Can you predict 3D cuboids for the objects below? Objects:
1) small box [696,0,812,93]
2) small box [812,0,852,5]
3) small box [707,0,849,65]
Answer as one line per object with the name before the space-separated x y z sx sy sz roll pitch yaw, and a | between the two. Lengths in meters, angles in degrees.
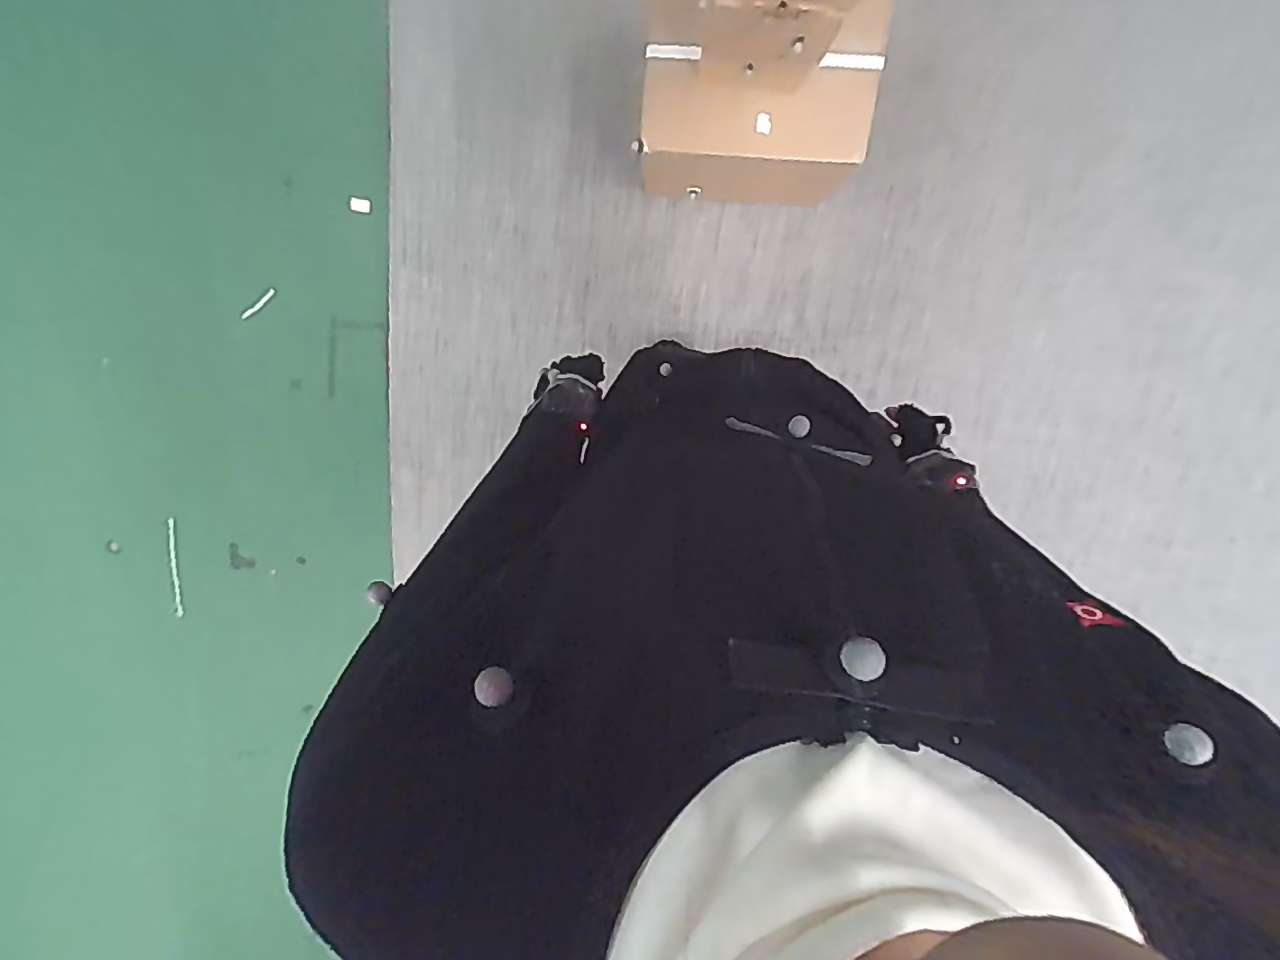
small box | 0.192 -0.735 0.840 0.179 0.176 0.168 12 109 0
small box | 0.177 -0.619 0.539 0.168 0.176 0.179 6 111 1
small box | 0.179 -0.669 0.695 0.168 0.176 0.179 5 109 1
